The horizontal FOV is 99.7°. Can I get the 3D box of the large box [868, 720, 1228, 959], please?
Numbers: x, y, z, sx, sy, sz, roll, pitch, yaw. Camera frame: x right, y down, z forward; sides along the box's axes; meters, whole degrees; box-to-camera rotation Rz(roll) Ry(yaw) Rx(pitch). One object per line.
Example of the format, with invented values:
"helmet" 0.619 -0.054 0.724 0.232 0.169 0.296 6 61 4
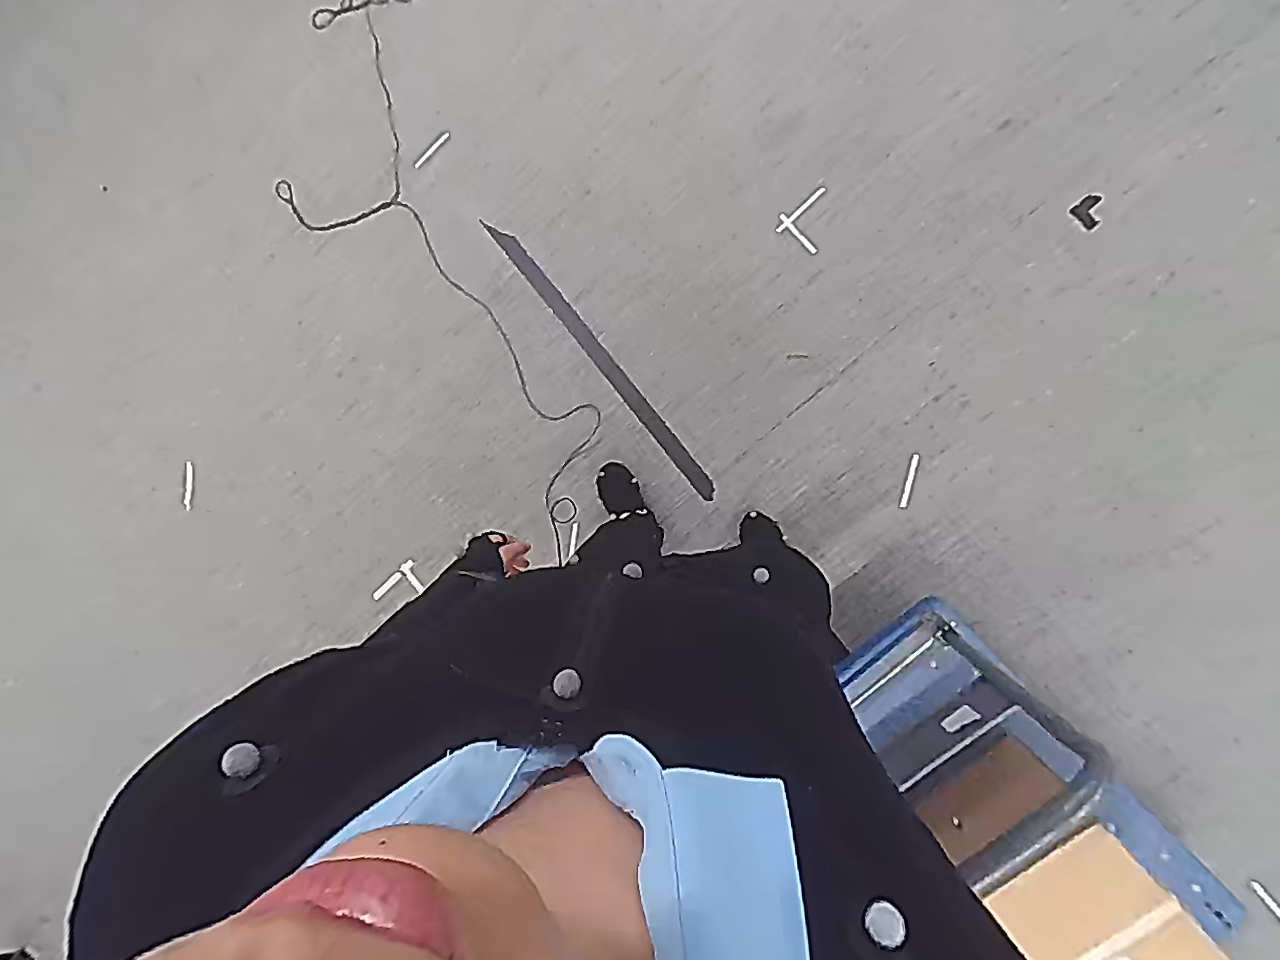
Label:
"large box" 0.737 0.770 1.062 0.408 0.320 0.320 -43 84 8
